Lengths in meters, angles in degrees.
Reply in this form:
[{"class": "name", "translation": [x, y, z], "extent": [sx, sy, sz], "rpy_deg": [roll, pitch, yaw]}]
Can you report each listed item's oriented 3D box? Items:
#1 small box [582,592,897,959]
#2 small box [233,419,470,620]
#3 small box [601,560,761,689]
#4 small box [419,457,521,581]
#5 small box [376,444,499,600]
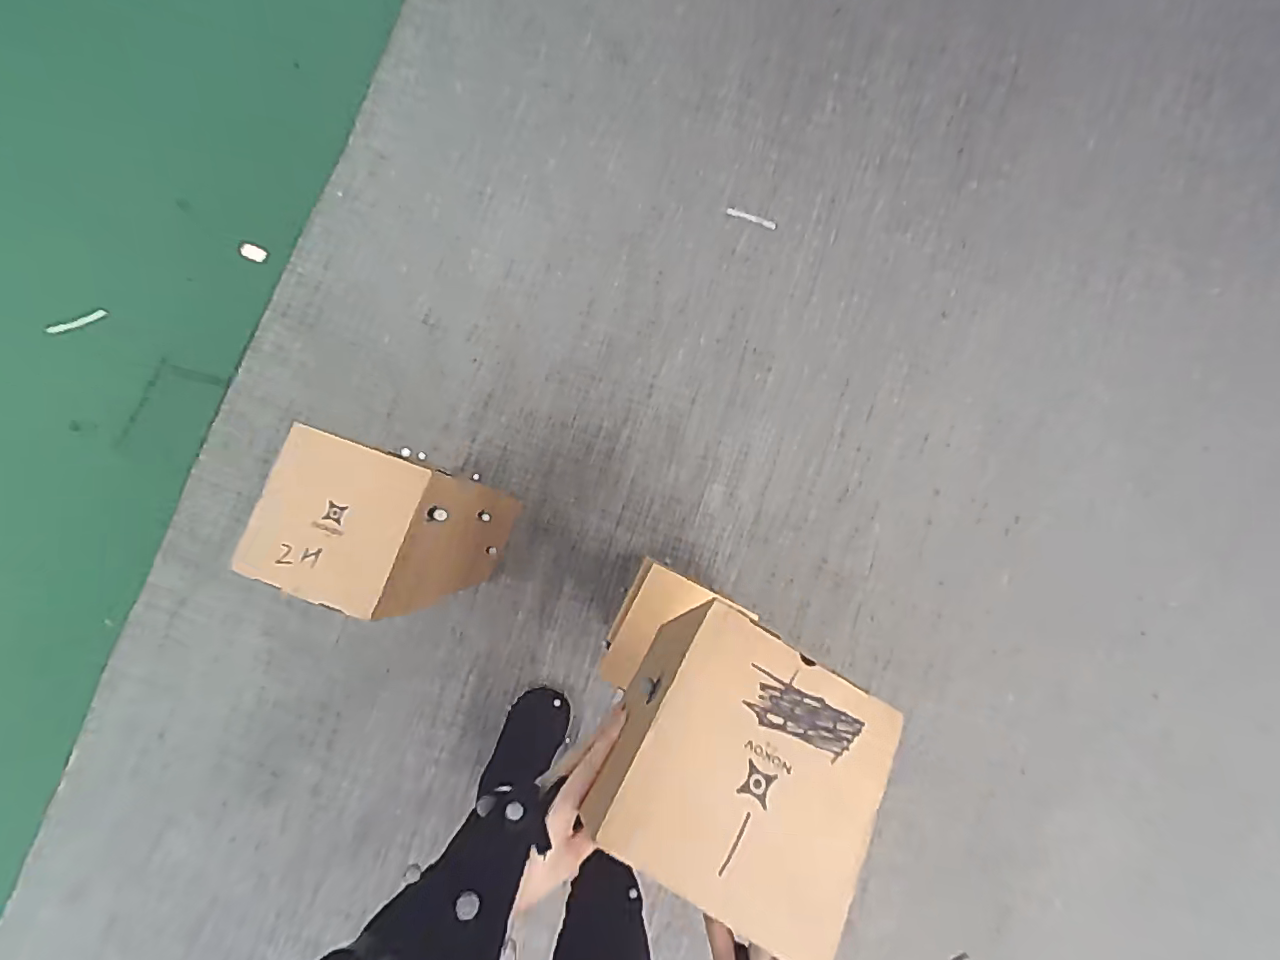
[{"class": "small box", "translation": [0.065, 0.219, 0.437], "extent": [0.168, 0.176, 0.179], "rpy_deg": [31, 66, 2]}, {"class": "small box", "translation": [-0.327, 0.049, 0.658], "extent": [0.168, 0.176, 0.179], "rpy_deg": [20, 84, 3]}, {"class": "small box", "translation": [0.054, 0.230, 0.809], "extent": [0.168, 0.176, 0.179], "rpy_deg": [26, 85, 2]}, {"class": "small box", "translation": [-0.335, 0.079, 0.984], "extent": [0.168, 0.176, 0.179], "rpy_deg": [23, 85, 2]}, {"class": "small box", "translation": [-0.330, 0.064, 0.822], "extent": [0.168, 0.176, 0.179], "rpy_deg": [19, 85, 2]}]
